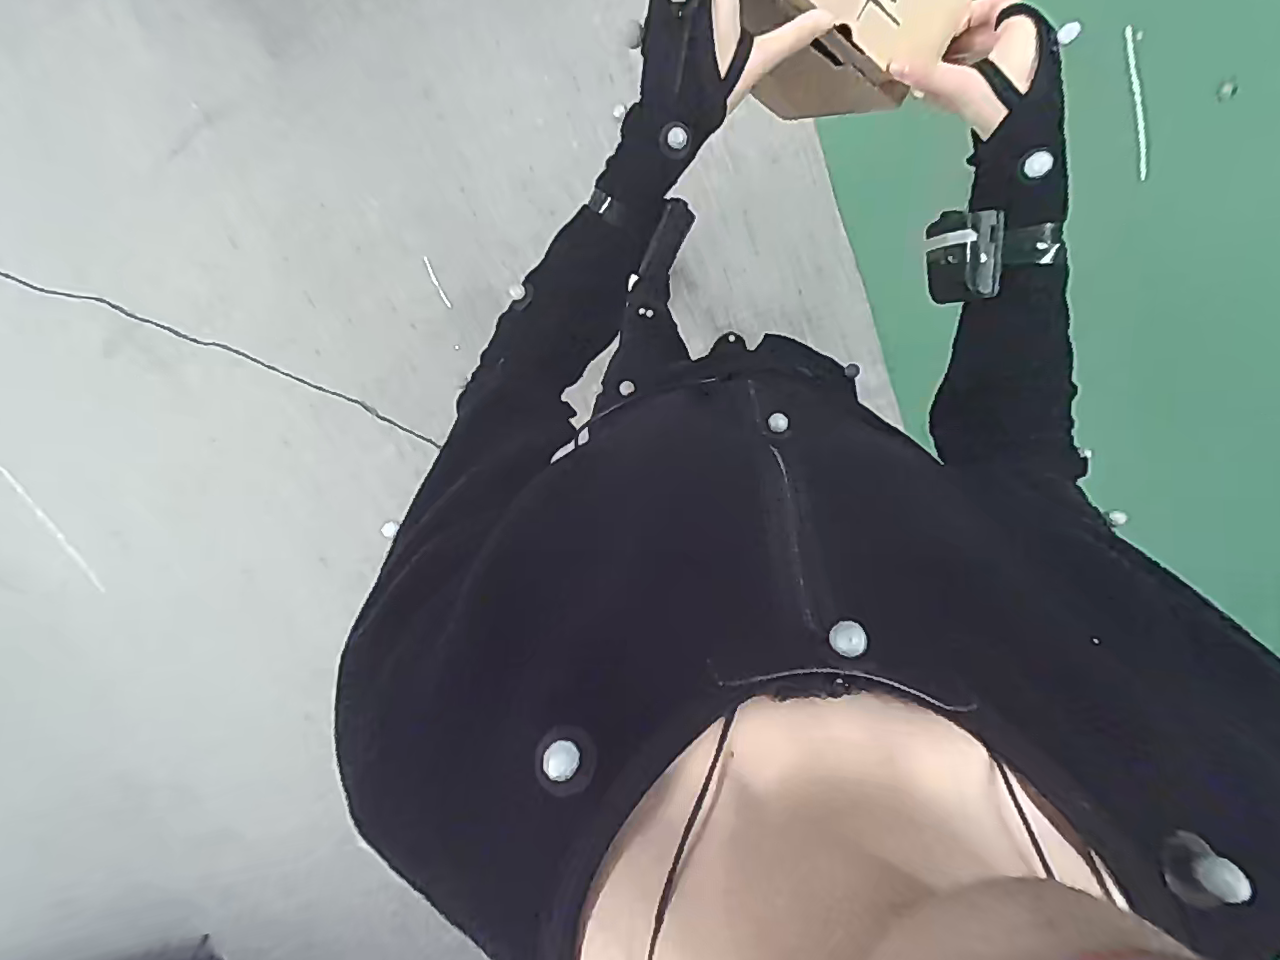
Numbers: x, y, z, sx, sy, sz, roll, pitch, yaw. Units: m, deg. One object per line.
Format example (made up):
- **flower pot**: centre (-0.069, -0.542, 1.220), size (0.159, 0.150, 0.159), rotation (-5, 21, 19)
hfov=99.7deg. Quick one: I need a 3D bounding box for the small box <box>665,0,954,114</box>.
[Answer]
- **small box**: centre (0.135, -0.412, 0.411), size (0.168, 0.176, 0.179), rotation (15, 112, -28)
